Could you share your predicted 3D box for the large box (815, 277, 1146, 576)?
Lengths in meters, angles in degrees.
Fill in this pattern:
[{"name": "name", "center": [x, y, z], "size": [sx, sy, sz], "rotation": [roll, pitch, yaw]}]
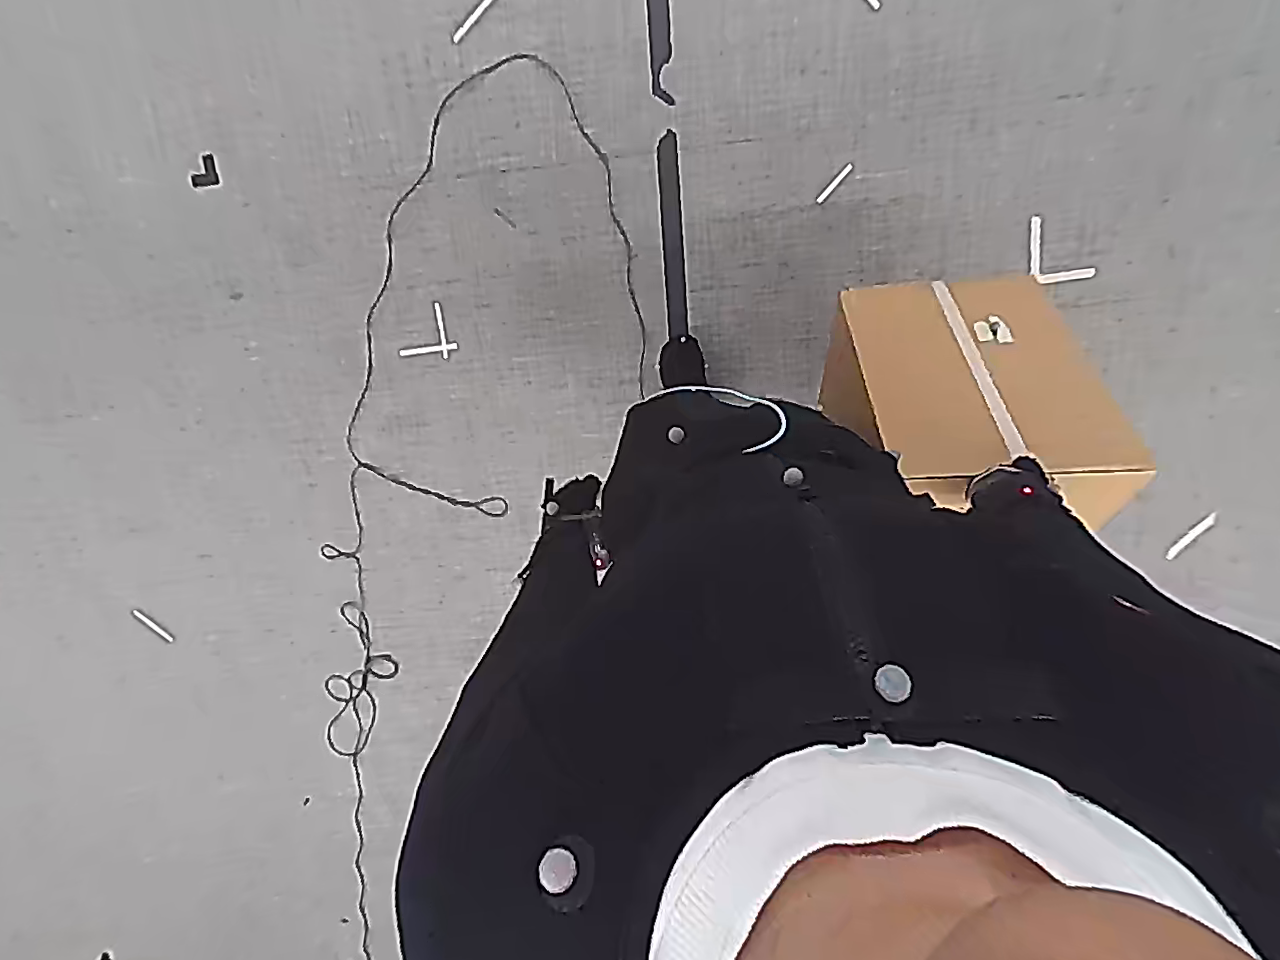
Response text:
[{"name": "large box", "center": [0.506, -0.084, 0.924], "size": [0.320, 0.408, 0.320], "rotation": [-2, 144, 5]}]
